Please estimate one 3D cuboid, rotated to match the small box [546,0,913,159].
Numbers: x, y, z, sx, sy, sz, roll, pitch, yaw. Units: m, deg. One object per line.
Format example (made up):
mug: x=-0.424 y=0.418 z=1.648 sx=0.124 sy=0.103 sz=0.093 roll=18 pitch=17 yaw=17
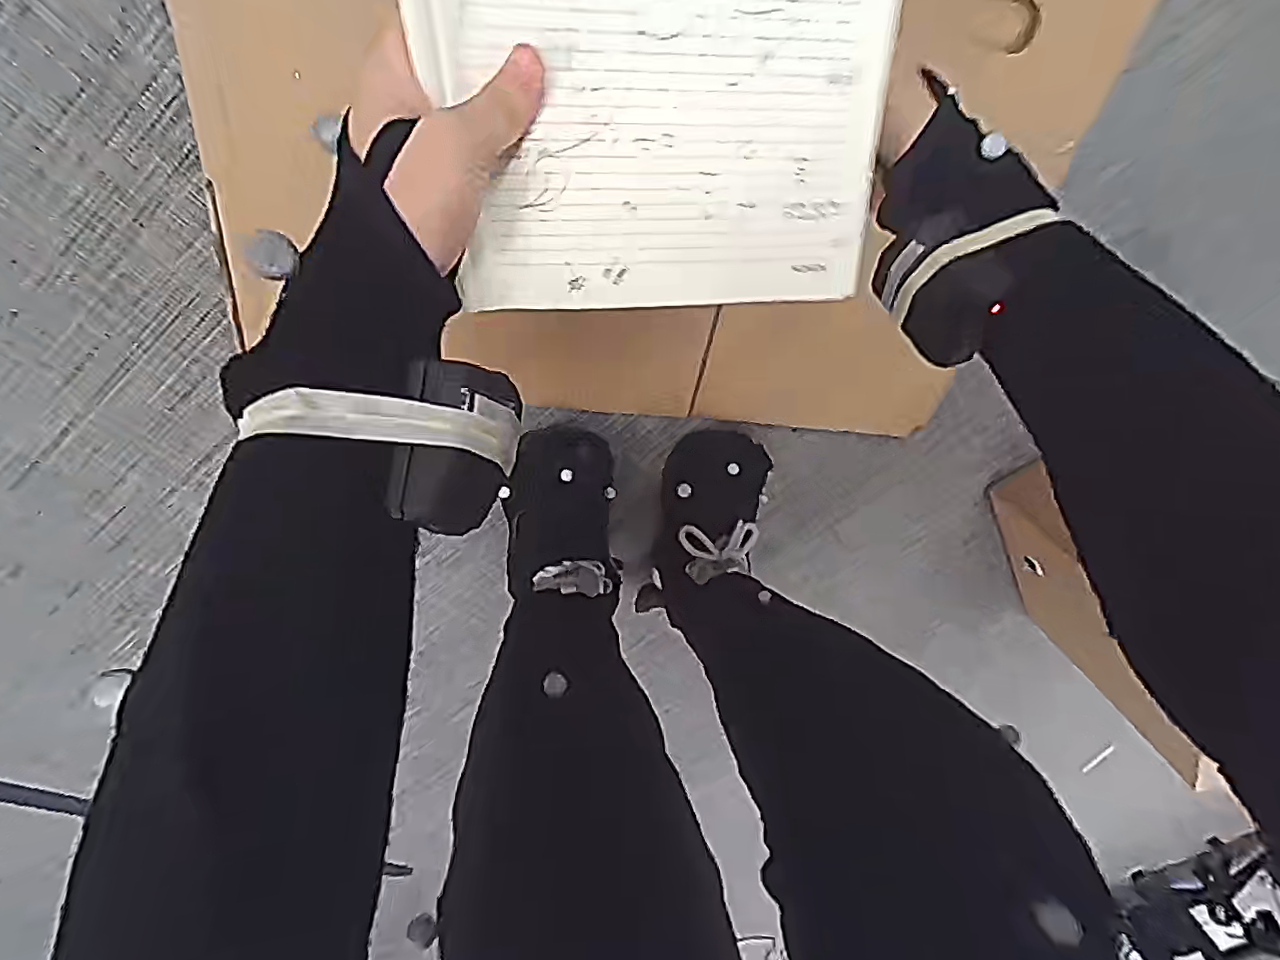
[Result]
small box: x=0.036 y=-0.289 z=0.289 sx=0.168 sy=0.176 sz=0.179 roll=-2 pitch=127 yaw=-11
